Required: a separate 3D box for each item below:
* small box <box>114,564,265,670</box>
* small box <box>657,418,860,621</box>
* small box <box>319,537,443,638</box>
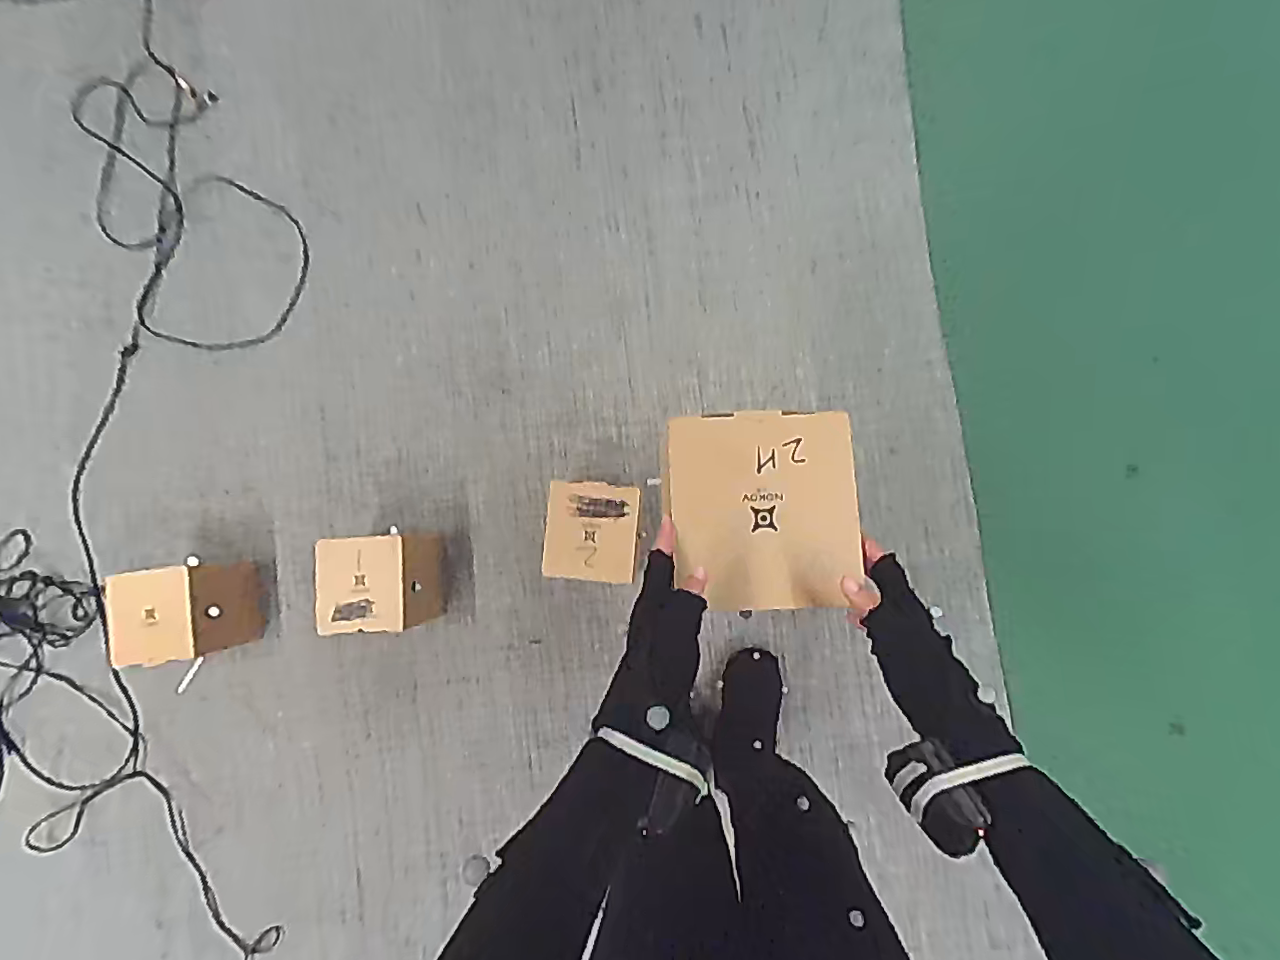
[{"bbox_3d":[-0.900,0.267,1.092,0.168,0.176,0.179,-8,85,3],"label":"small box"},{"bbox_3d":[0.104,0.043,0.547,0.168,0.176,0.179,-1,81,-1],"label":"small box"},{"bbox_3d":[-0.502,0.206,1.069,0.168,0.176,0.179,-3,85,4],"label":"small box"}]
